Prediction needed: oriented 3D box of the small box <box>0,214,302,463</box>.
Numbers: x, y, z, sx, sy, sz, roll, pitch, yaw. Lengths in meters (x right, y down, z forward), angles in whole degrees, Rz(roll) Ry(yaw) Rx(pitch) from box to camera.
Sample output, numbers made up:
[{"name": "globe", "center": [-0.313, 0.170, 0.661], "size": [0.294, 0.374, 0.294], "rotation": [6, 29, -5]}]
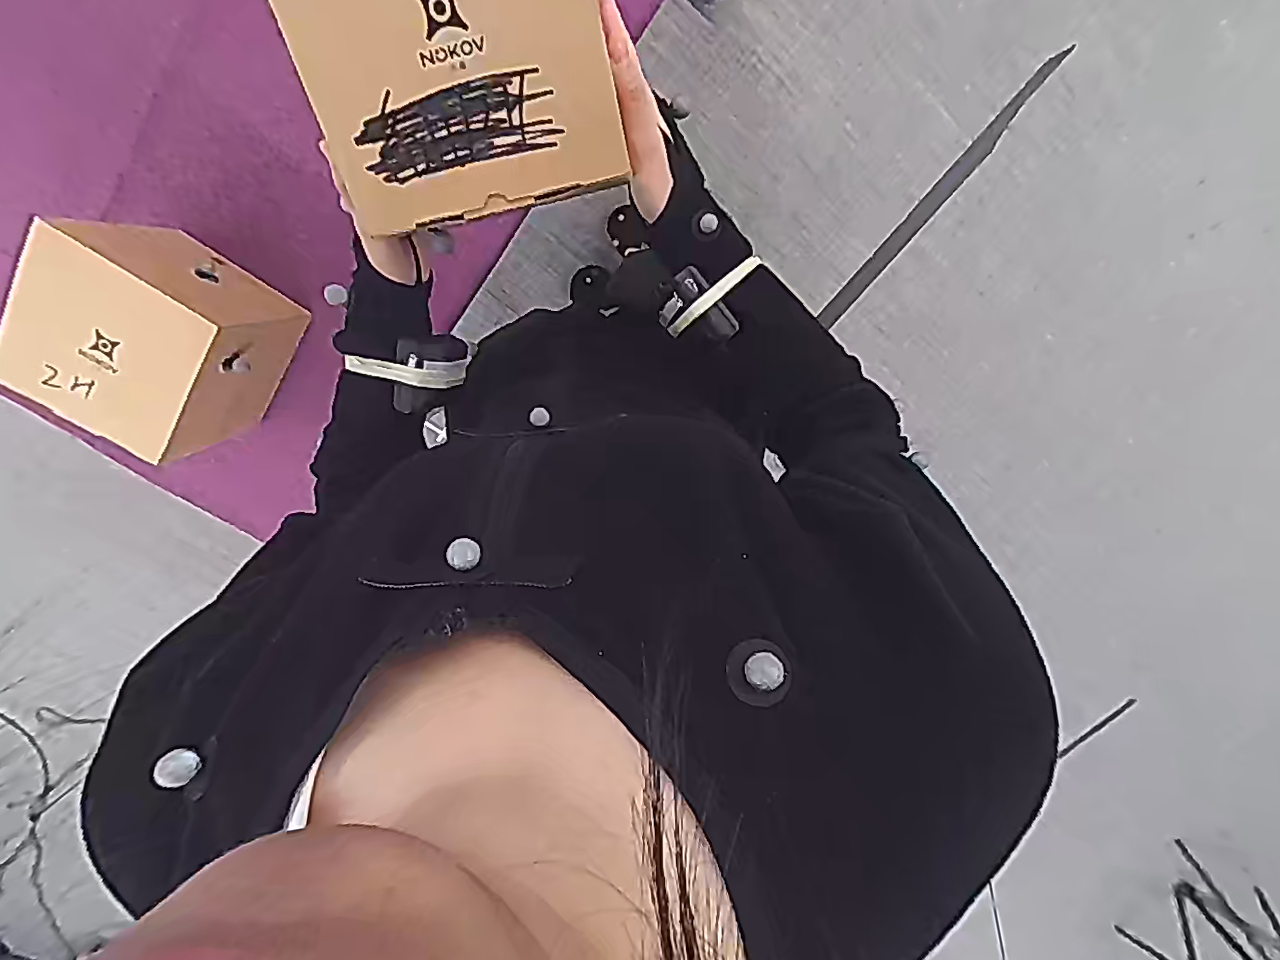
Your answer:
[{"name": "small box", "center": [-0.510, -0.154, 0.588], "size": [0.168, 0.176, 0.179], "rotation": [33, 107, -13]}]
